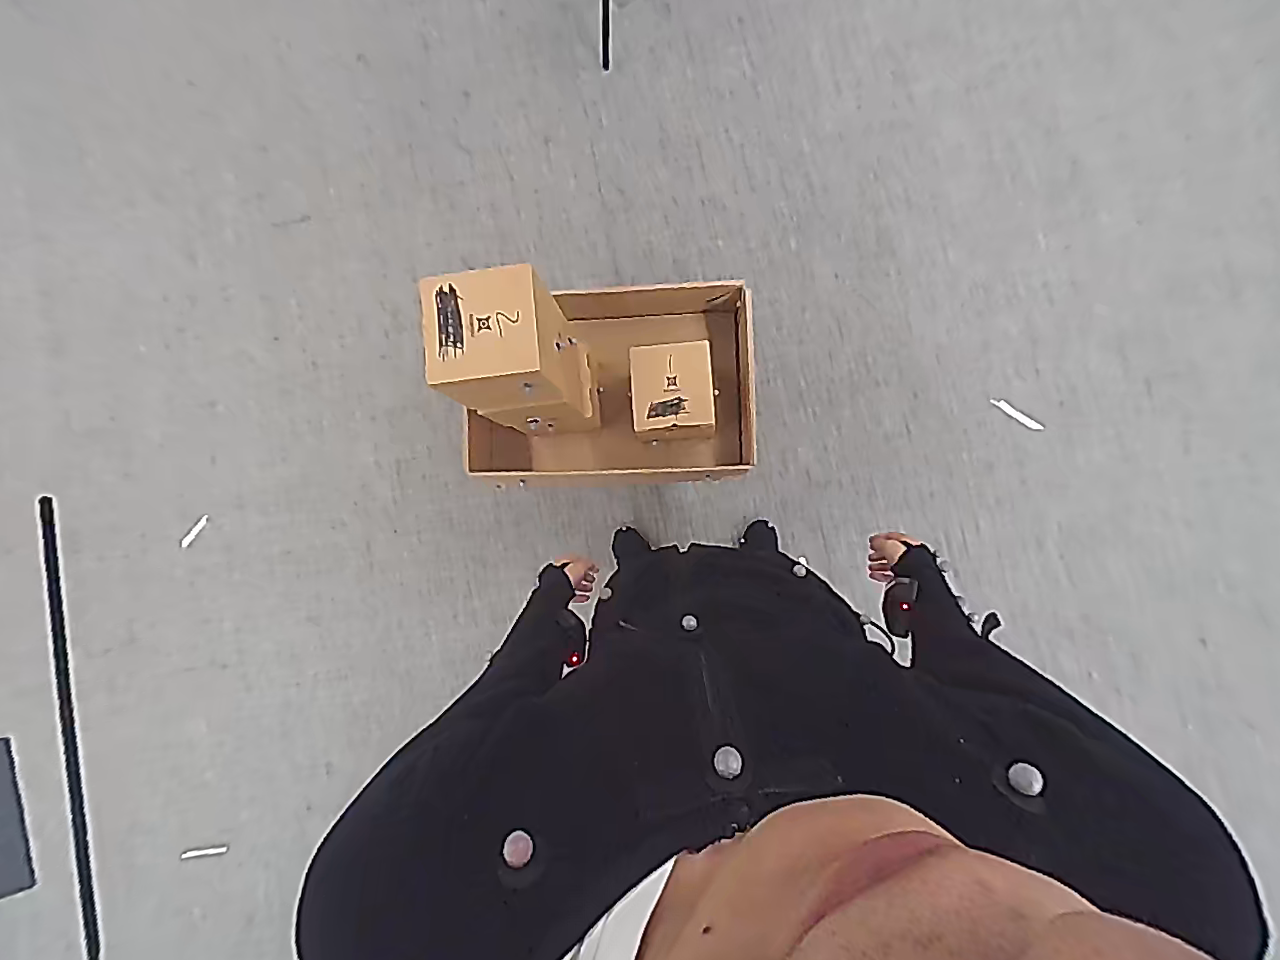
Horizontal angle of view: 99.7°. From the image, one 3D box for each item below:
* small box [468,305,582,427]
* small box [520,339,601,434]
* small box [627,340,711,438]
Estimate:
[{"bbox_3d":[-0.213,-0.209,1.031,0.168,0.176,0.179,-7,85,5],"label":"small box"},{"bbox_3d":[-0.190,-0.198,1.192,0.179,0.176,0.168,-5,86,4],"label":"small box"},{"bbox_3d":[0.065,-0.187,1.171,0.168,0.176,0.179,-4,85,5],"label":"small box"}]
